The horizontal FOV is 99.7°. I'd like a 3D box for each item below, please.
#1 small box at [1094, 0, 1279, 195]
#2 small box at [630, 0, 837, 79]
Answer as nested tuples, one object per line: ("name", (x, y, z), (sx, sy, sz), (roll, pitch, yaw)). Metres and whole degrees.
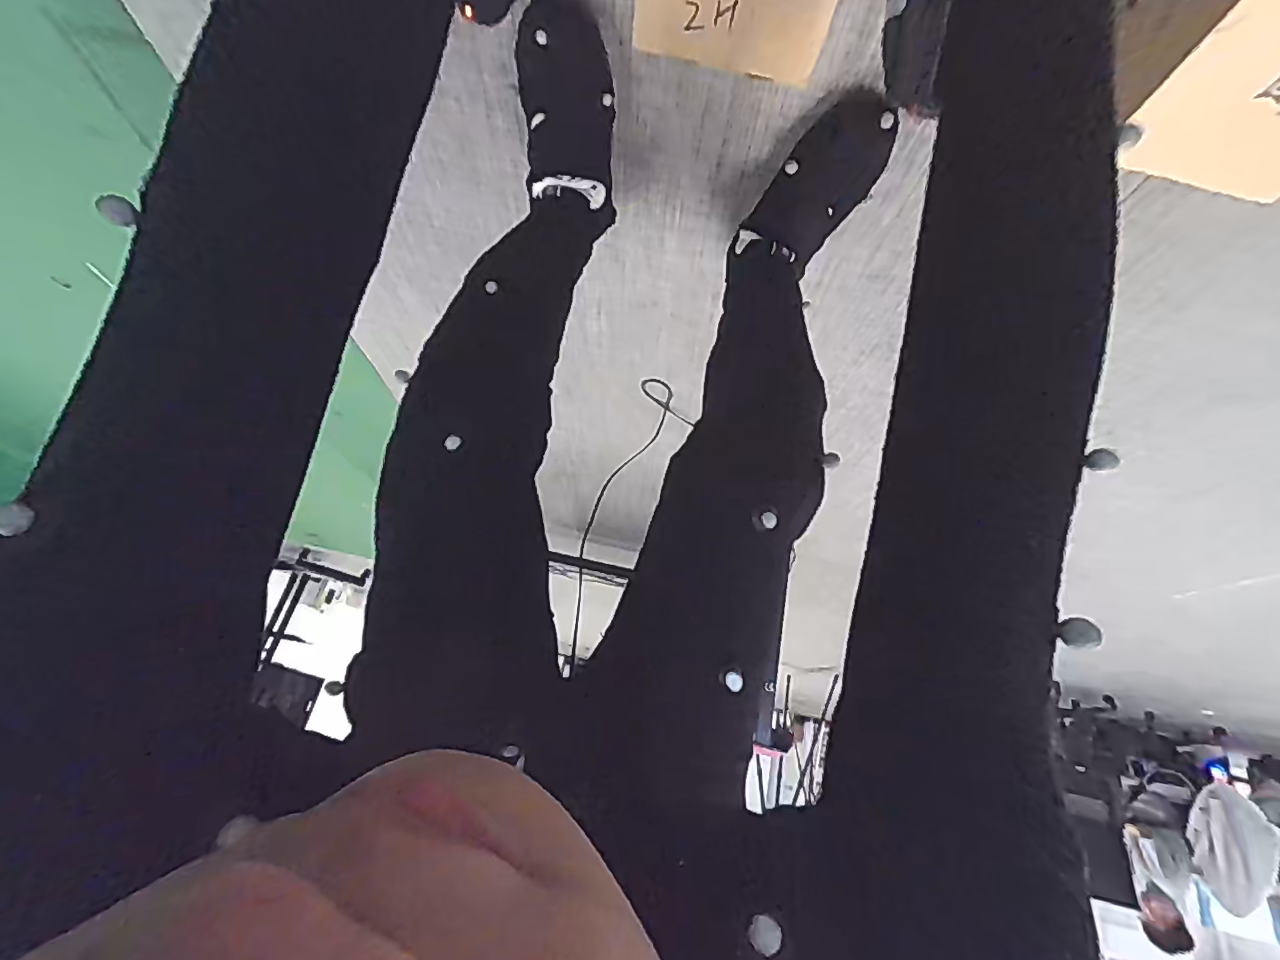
("small box", (0.517, -0.374, 0.434), (0.179, 0.176, 0.168), (13, 157, 0))
("small box", (0.095, -0.476, 0.429), (0.168, 0.176, 0.179), (14, 157, 1))
